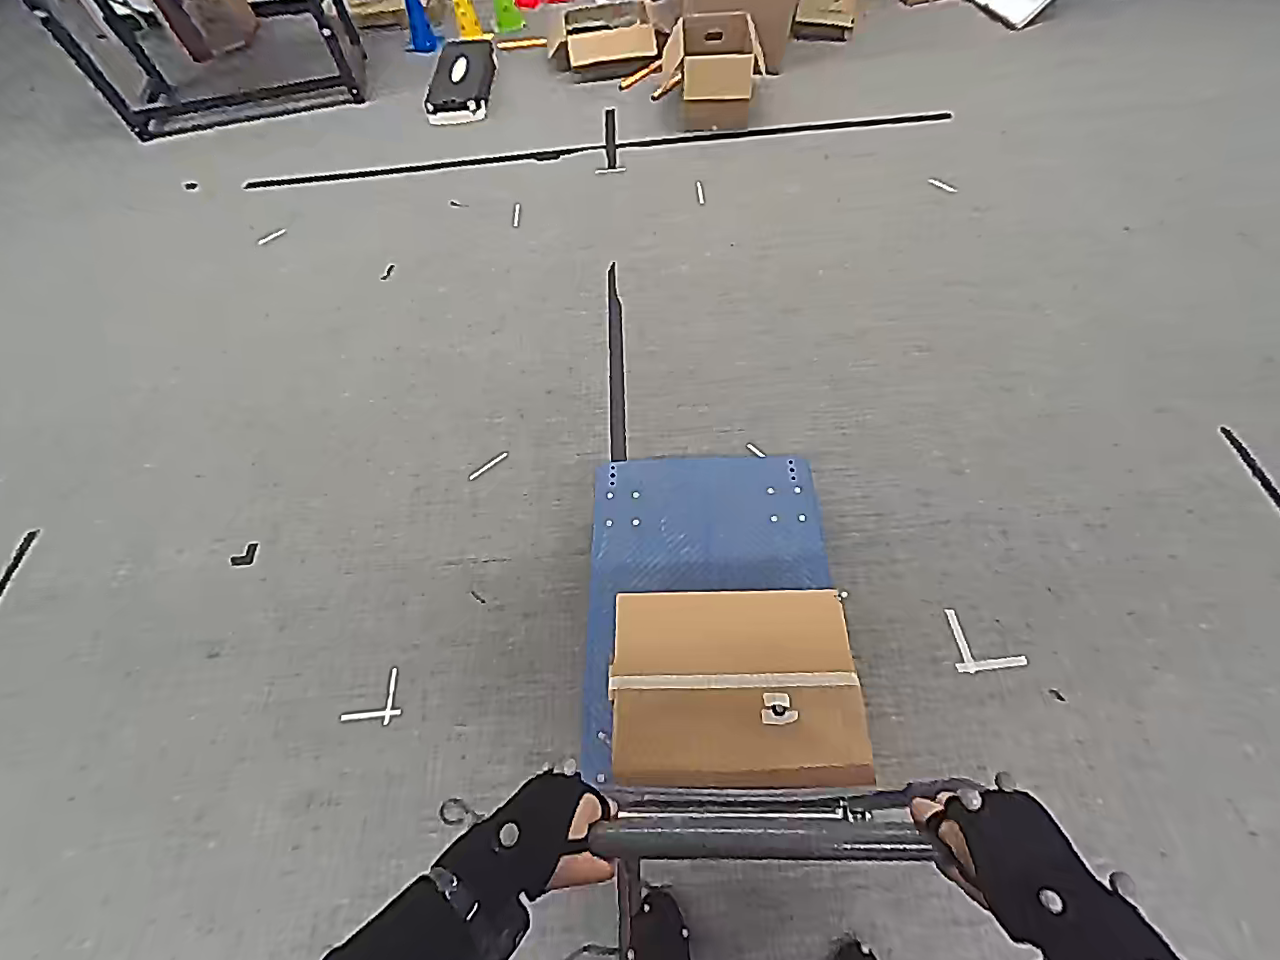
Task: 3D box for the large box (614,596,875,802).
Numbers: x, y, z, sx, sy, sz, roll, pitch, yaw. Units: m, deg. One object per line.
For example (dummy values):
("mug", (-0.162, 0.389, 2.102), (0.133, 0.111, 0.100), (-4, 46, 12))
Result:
("large box", (0.161, 0.423, 1.022), (0.408, 0.320, 0.320), (-1, 59, 2))
